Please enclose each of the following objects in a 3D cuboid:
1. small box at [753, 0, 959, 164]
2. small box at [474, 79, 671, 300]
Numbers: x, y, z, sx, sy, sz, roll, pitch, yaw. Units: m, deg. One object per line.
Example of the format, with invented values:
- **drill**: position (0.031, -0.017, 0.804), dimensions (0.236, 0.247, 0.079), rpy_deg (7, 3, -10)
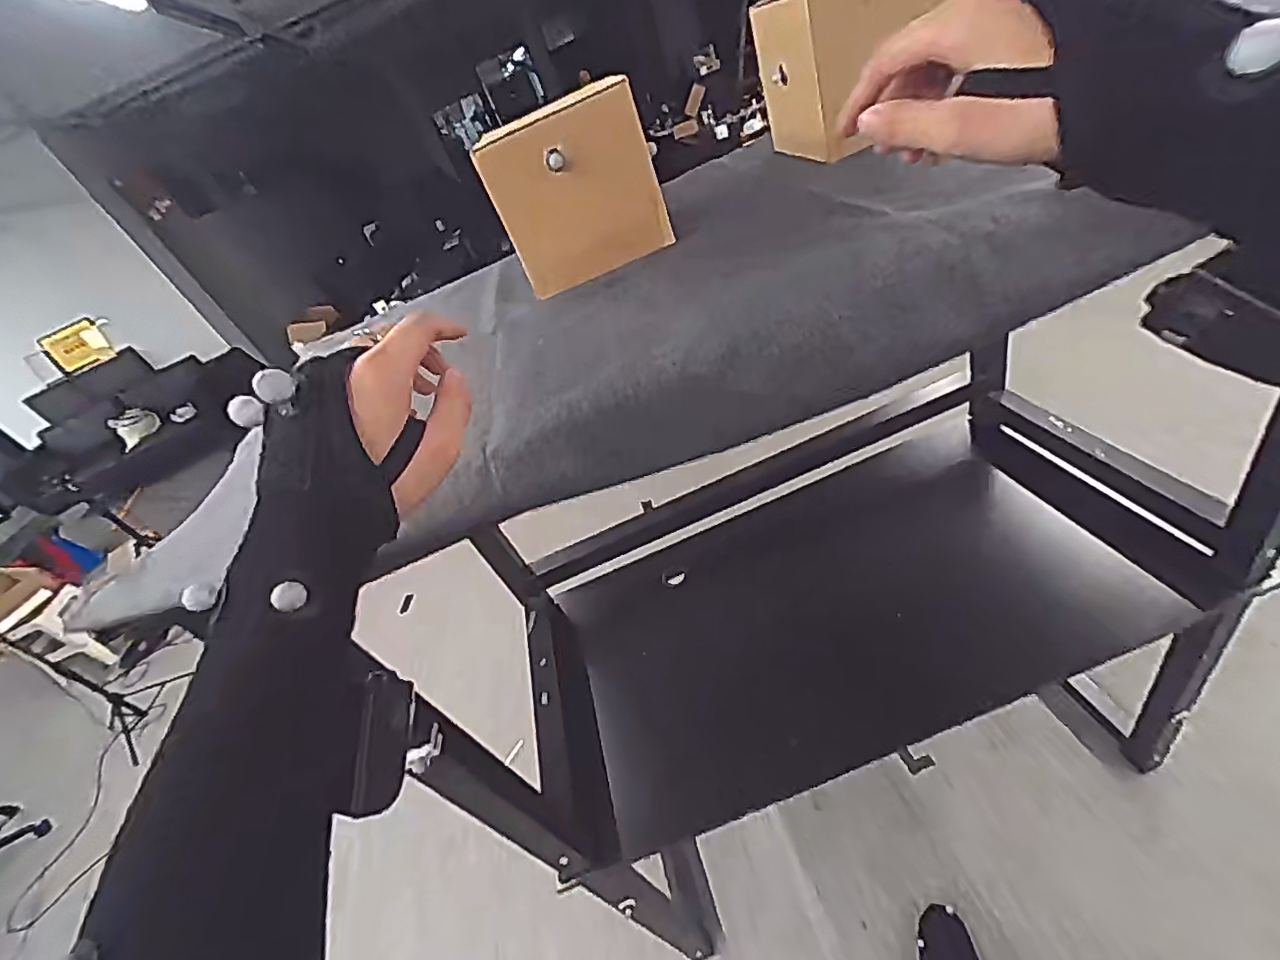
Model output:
- **small box**: position (0.258, -0.505, 0.649), dimensions (0.168, 0.176, 0.179), rpy_deg (-22, 36, 4)
- **small box**: position (-0.072, -0.345, 0.646), dimensions (0.179, 0.176, 0.168), rpy_deg (-21, 37, 6)
